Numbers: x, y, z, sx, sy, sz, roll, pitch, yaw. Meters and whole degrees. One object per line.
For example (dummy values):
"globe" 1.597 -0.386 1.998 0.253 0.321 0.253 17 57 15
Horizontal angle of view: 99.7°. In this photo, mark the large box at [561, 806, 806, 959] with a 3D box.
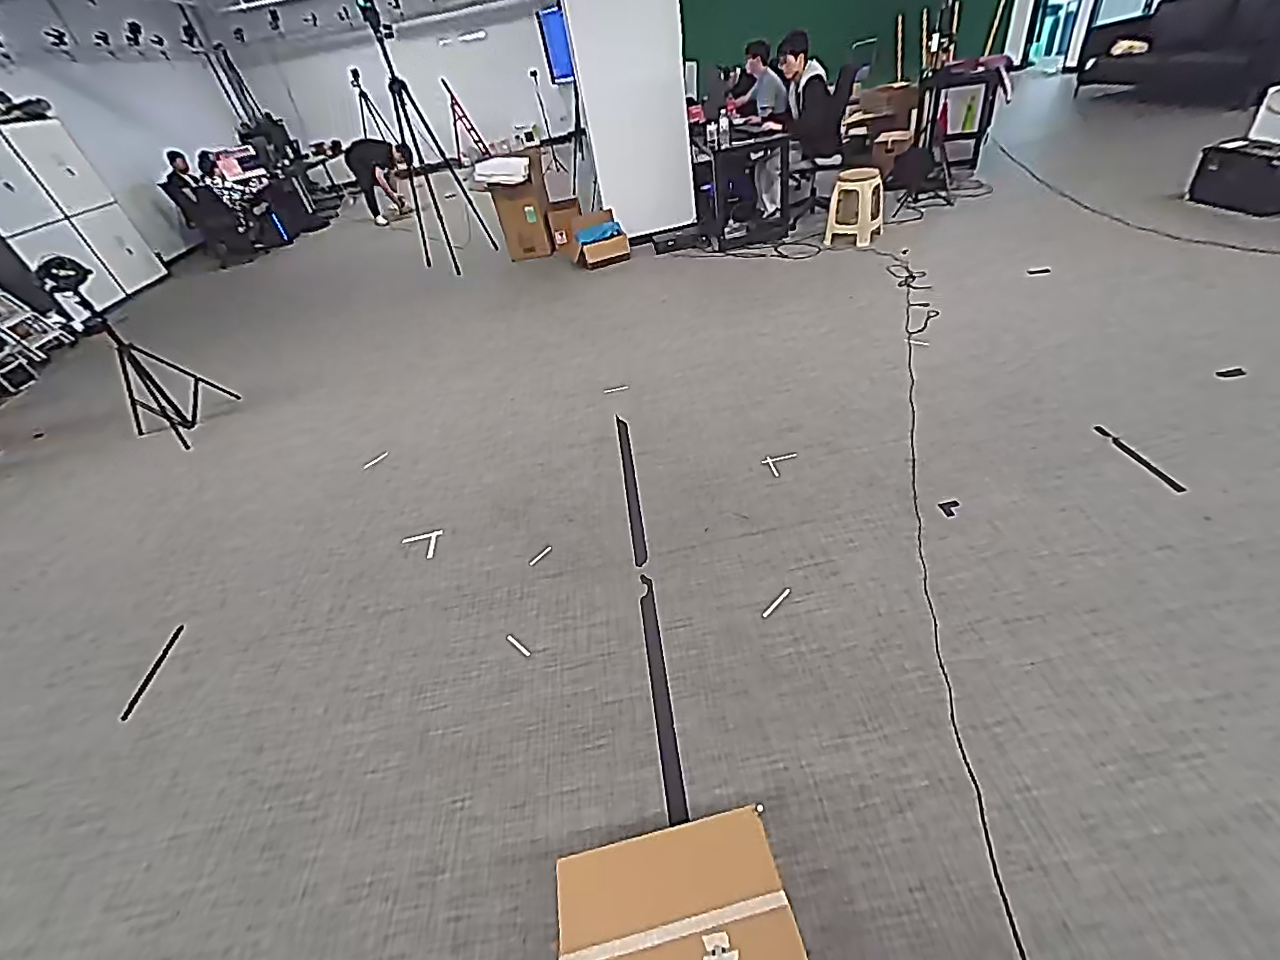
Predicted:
"large box" 0.088 0.902 1.036 0.408 0.320 0.320 -14 38 -2
